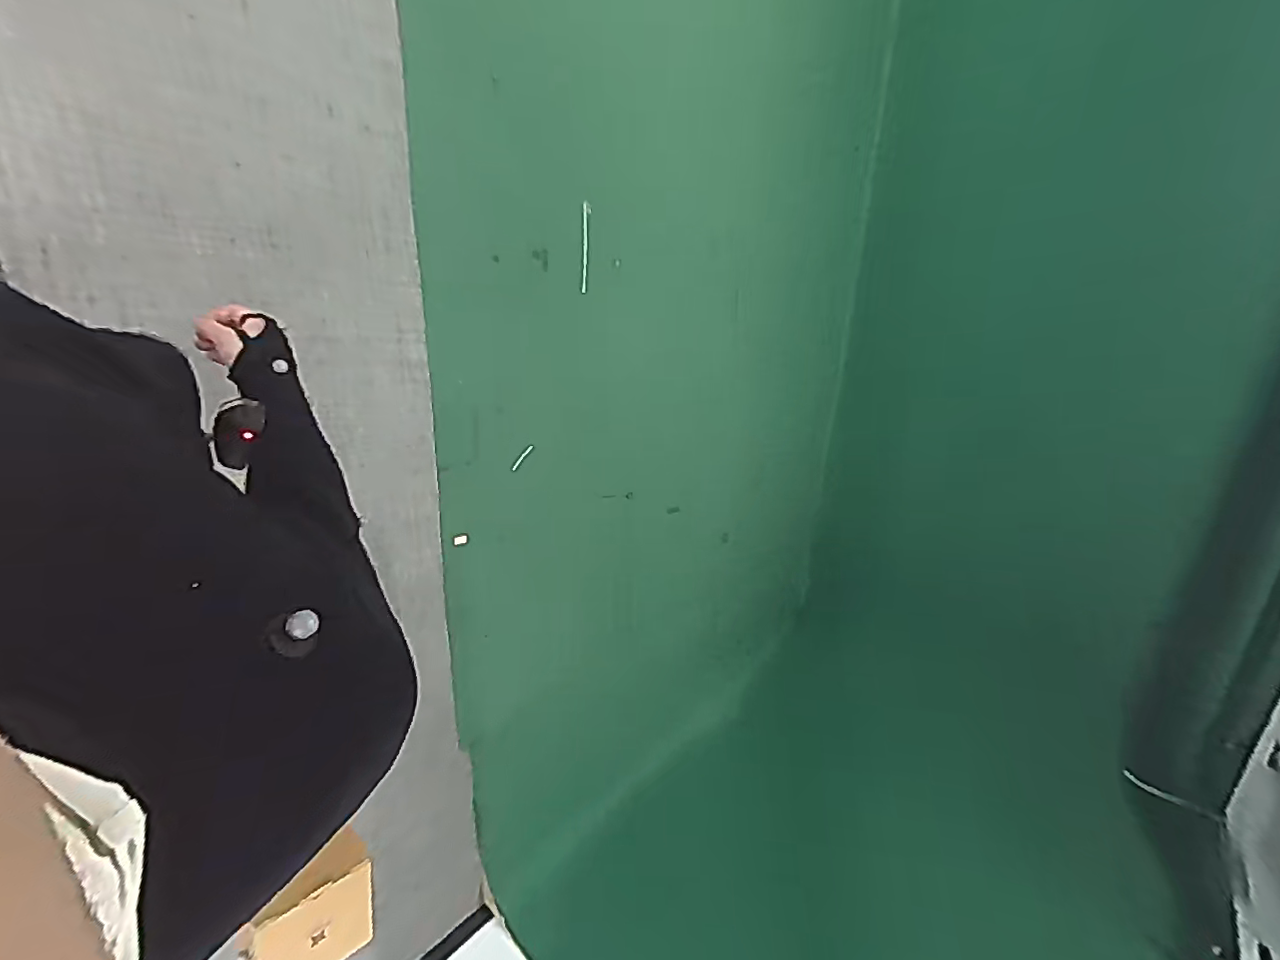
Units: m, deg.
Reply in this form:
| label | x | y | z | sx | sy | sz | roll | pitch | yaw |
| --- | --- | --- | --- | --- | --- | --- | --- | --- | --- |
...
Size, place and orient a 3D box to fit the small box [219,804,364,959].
| label | x | y | z | sx | sy | sz | roll | pitch | yaw |
| --- | --- | --- | --- | --- | --- | --- | --- | --- | --- |
| small box | -0.582 | 0.699 | 0.907 | 0.168 | 0.176 | 0.179 | -10 | 111 | -48 |
